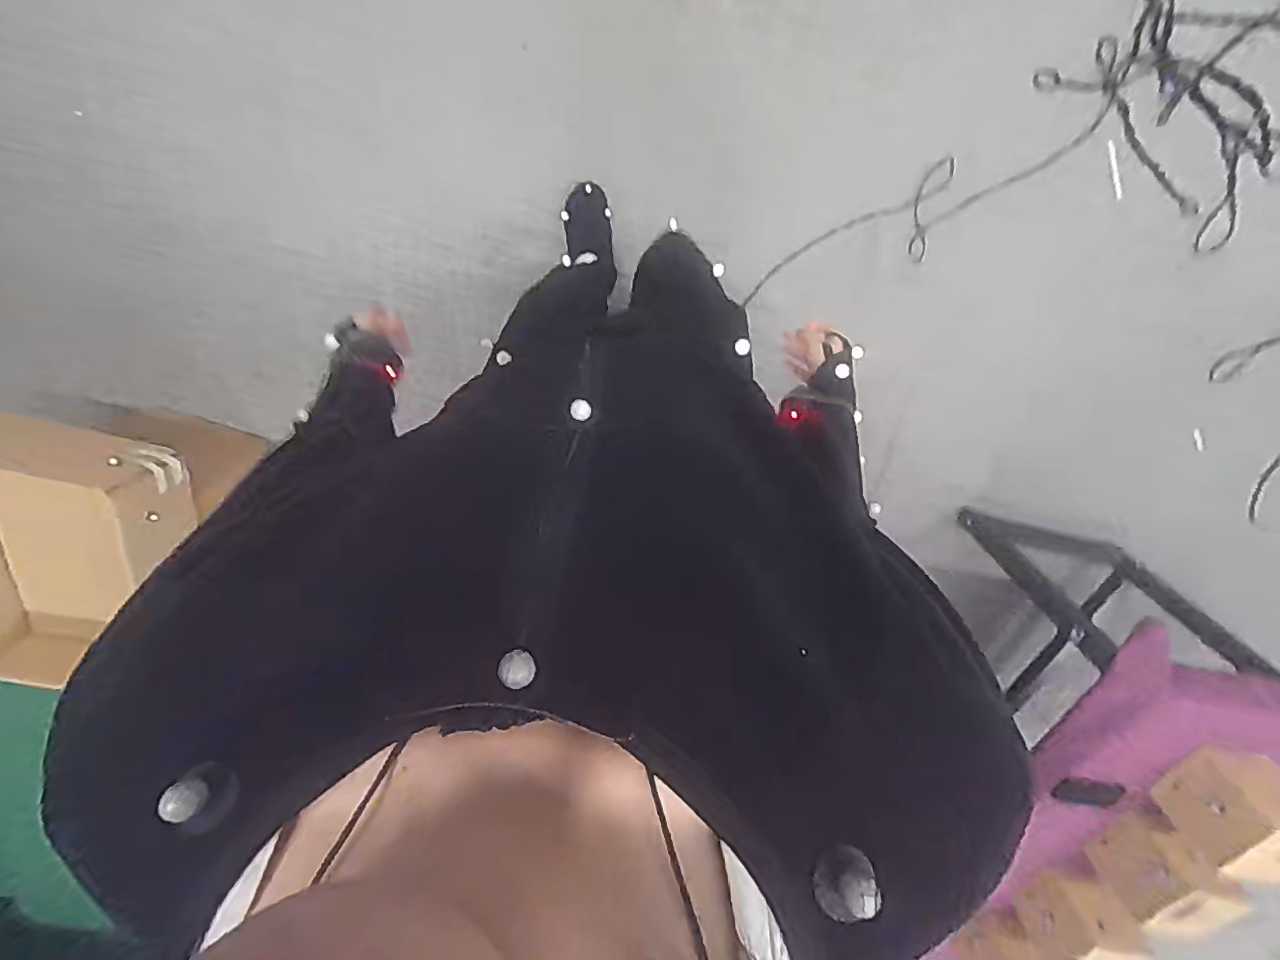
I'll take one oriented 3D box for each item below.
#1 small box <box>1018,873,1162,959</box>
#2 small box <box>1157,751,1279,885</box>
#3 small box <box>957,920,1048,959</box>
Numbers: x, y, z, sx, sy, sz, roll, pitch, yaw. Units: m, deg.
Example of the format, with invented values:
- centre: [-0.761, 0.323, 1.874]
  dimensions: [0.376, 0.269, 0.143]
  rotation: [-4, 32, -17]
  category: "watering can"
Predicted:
- centre: [1.086, 1.099, 1.324]
  dimensions: [0.179, 0.176, 0.168]
  rotation: [16, 118, -10]
  category: "small box"
- centre: [1.228, 0.678, 1.093]
  dimensions: [0.179, 0.176, 0.168]
  rotation: [11, 118, -8]
  category: "small box"
- centre: [1.003, 1.315, 1.444]
  dimensions: [0.179, 0.176, 0.168]
  rotation: [18, 116, -10]
  category: "small box"
